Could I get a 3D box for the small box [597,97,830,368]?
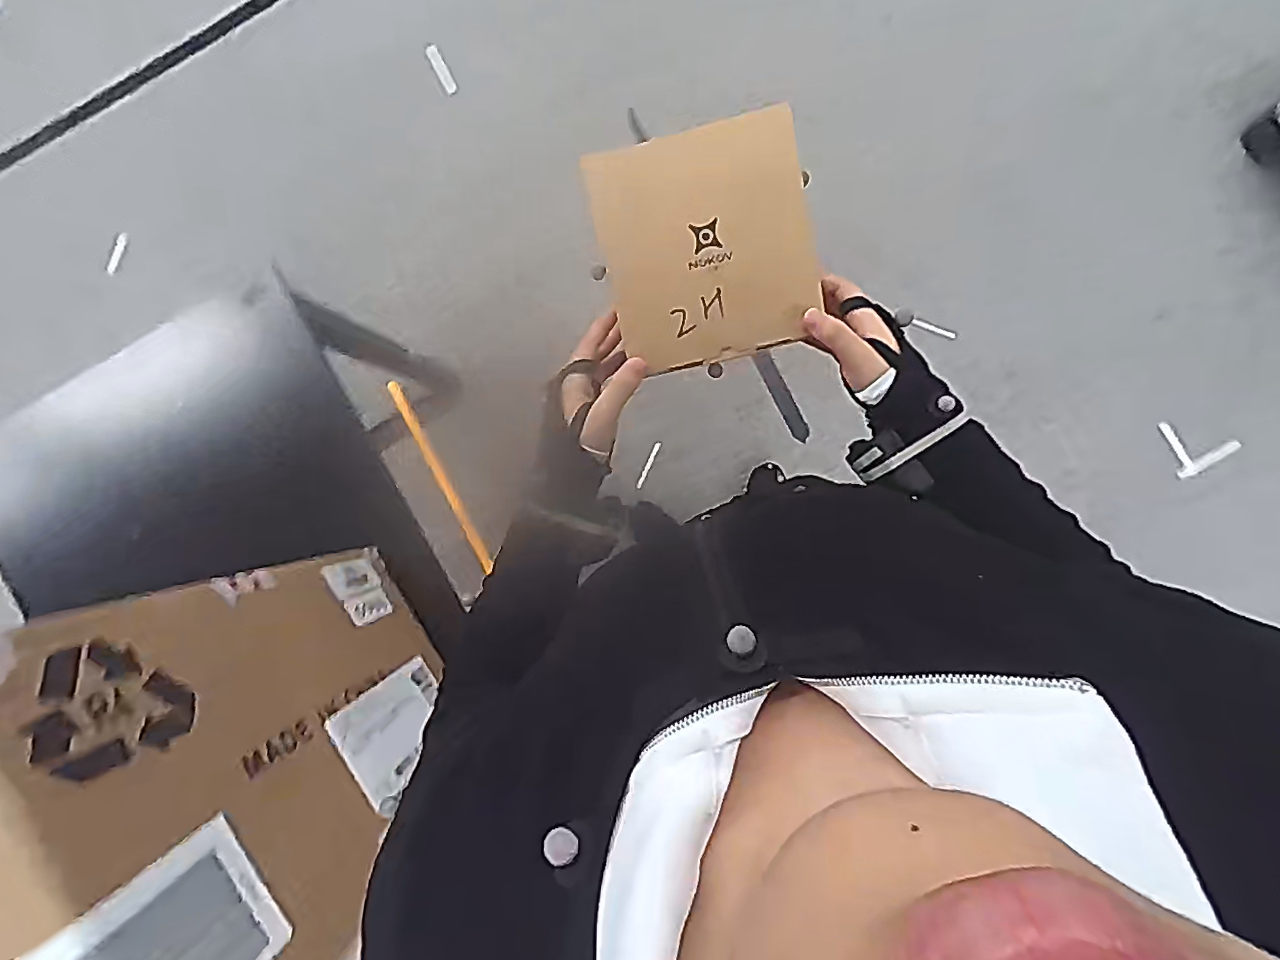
[{"bbox_3d":[0.062,-0.209,0.511,0.168,0.176,0.179,-12,100,5],"label":"small box"}]
